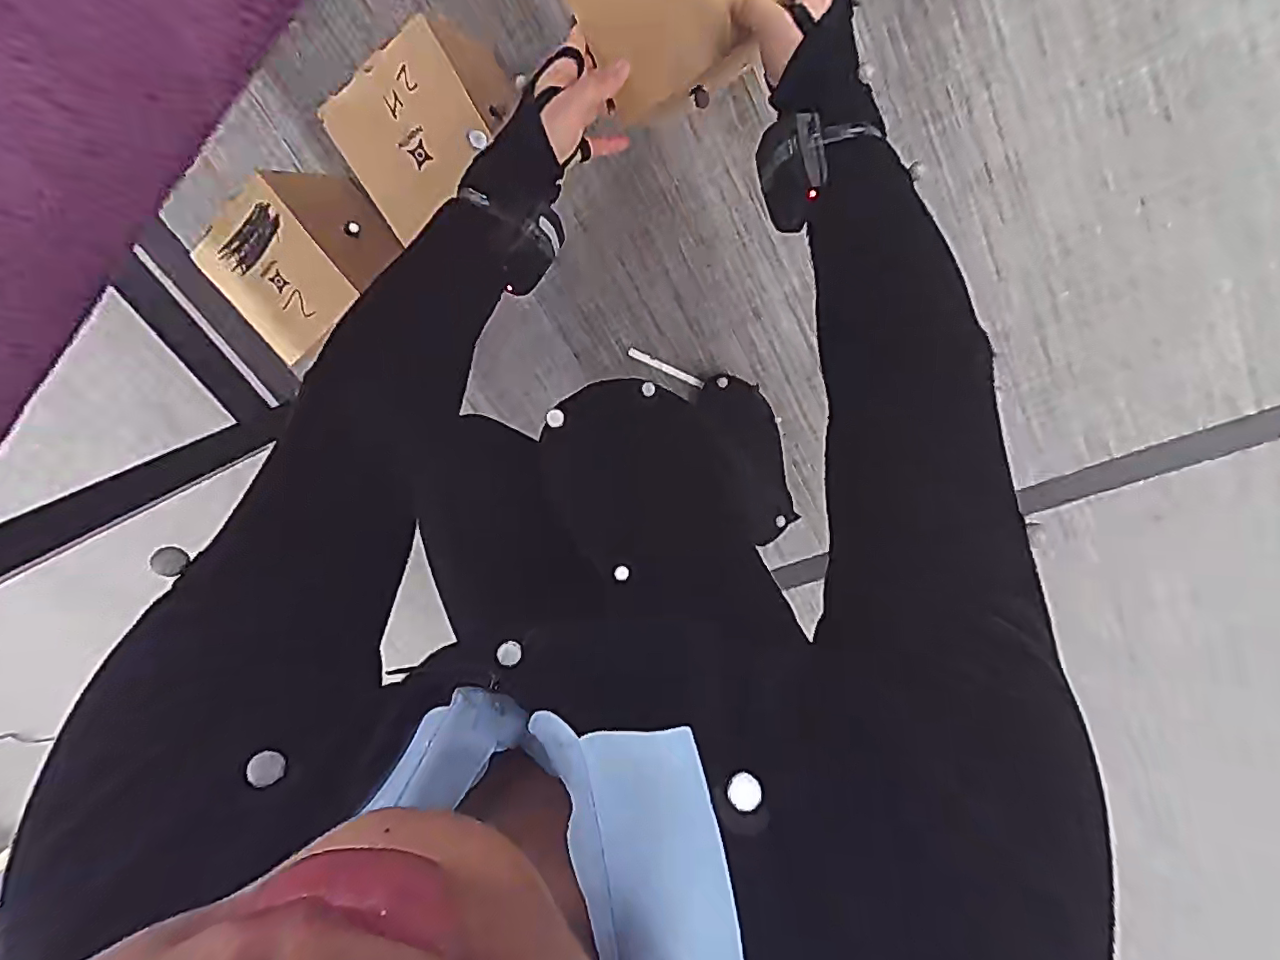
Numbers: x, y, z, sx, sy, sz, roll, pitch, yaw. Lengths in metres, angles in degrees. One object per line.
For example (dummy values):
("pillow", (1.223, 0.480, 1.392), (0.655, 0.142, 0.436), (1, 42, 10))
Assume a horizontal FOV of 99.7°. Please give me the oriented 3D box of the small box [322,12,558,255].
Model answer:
("small box", (-0.224, -0.401, 0.658), (0.168, 0.176, 0.179), (-24, 109, 20))
